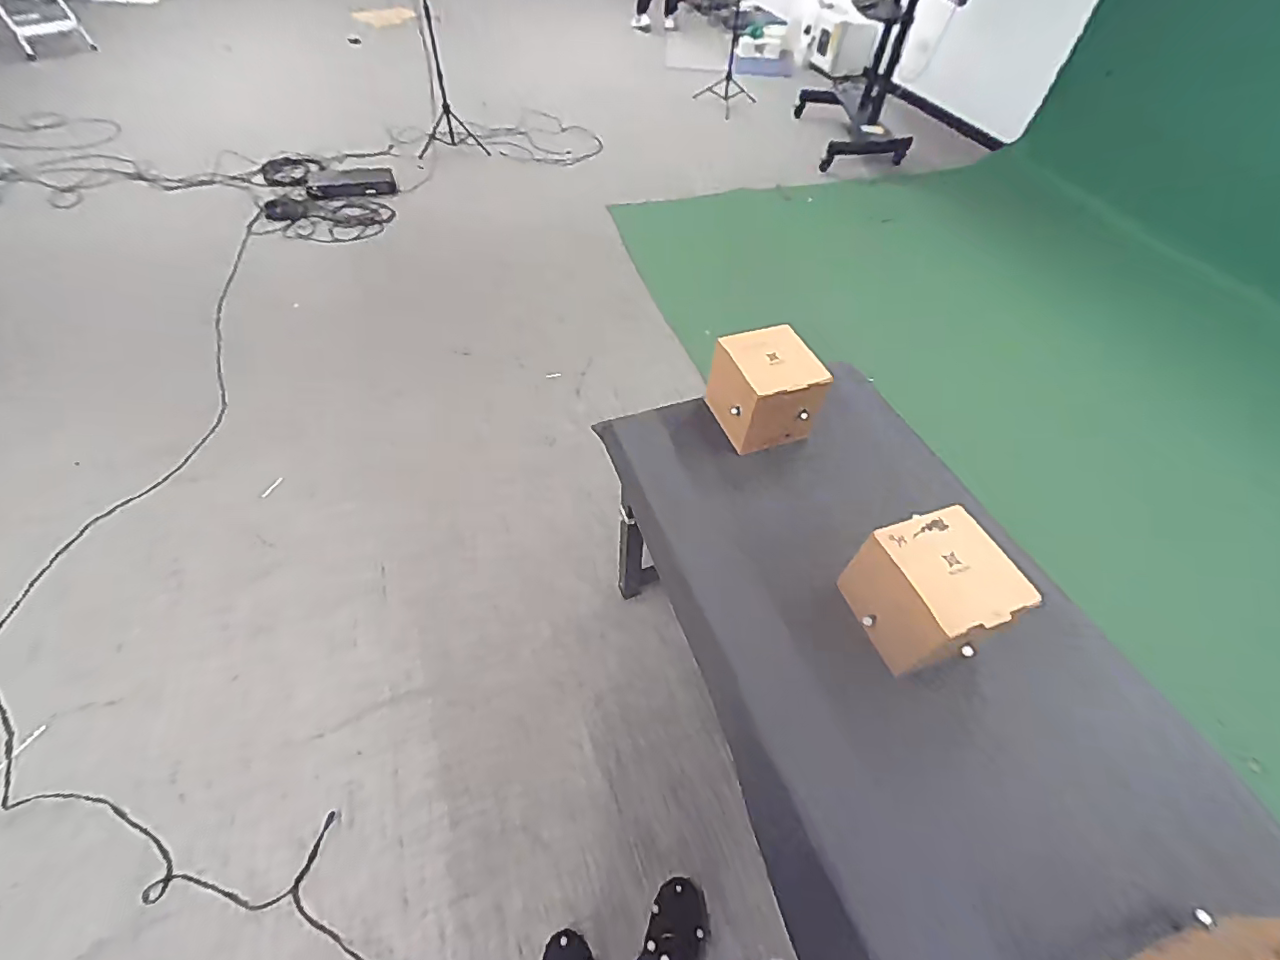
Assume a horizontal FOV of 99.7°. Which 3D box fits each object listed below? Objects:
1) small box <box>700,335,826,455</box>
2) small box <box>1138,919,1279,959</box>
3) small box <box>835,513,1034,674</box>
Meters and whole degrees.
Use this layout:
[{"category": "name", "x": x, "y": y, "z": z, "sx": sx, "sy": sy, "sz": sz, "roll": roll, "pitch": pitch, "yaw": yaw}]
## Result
[{"category": "small box", "x": 0.241, "y": -0.167, "z": 1.105, "sx": 0.168, "sy": 0.176, "sz": 0.179, "roll": -14, "pitch": 53, "yaw": -19}, {"category": "small box", "x": 0.660, "y": 0.575, "z": 0.543, "sx": 0.168, "sy": 0.176, "sz": 0.179, "roll": -12, "pitch": 54, "yaw": -15}, {"category": "small box", "x": 0.441, "y": 0.183, "z": 0.842, "sx": 0.168, "sy": 0.176, "sz": 0.179, "roll": -13, "pitch": 54, "yaw": -17}]
